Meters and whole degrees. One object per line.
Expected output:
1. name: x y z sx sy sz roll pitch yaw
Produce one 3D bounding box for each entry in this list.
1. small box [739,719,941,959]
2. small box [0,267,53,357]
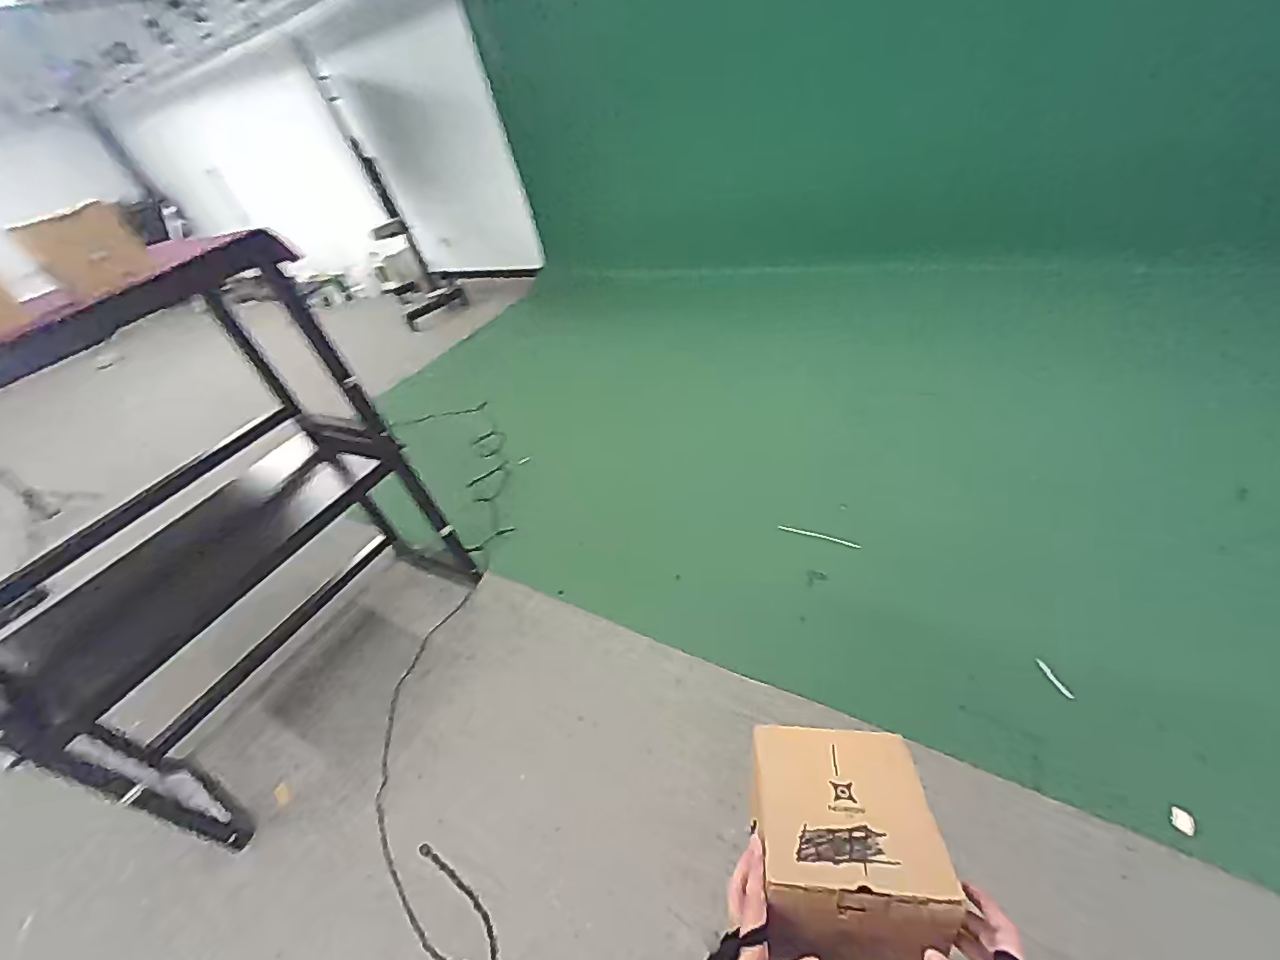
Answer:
1. small box: 0.195 0.390 0.580 0.168 0.176 0.179 1 23 7
2. small box: -1.408 -0.350 1.138 0.168 0.176 0.179 10 46 32
